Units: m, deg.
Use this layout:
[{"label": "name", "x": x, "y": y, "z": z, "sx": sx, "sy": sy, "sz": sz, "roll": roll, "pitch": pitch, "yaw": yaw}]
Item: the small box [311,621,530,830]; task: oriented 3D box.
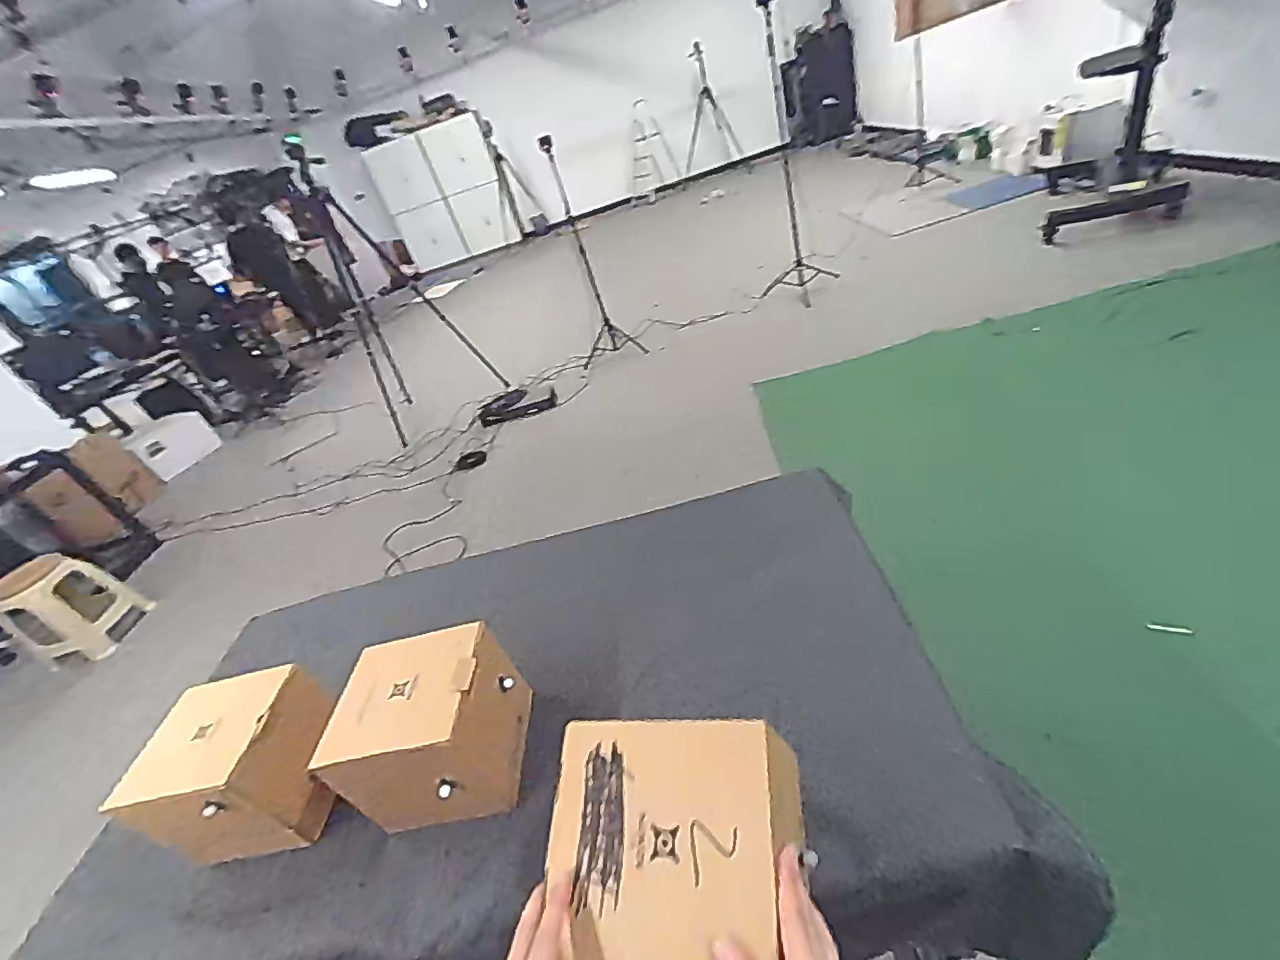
[{"label": "small box", "x": -0.259, "y": 0.313, "z": 0.691, "sx": 0.179, "sy": 0.176, "sz": 0.168, "roll": -16, "pitch": 32, "yaw": 9}]

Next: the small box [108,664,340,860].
[{"label": "small box", "x": -0.527, "y": 0.384, "z": 0.734, "sx": 0.179, "sy": 0.176, "sz": 0.168, "roll": -15, "pitch": 33, "yaw": 7}]
